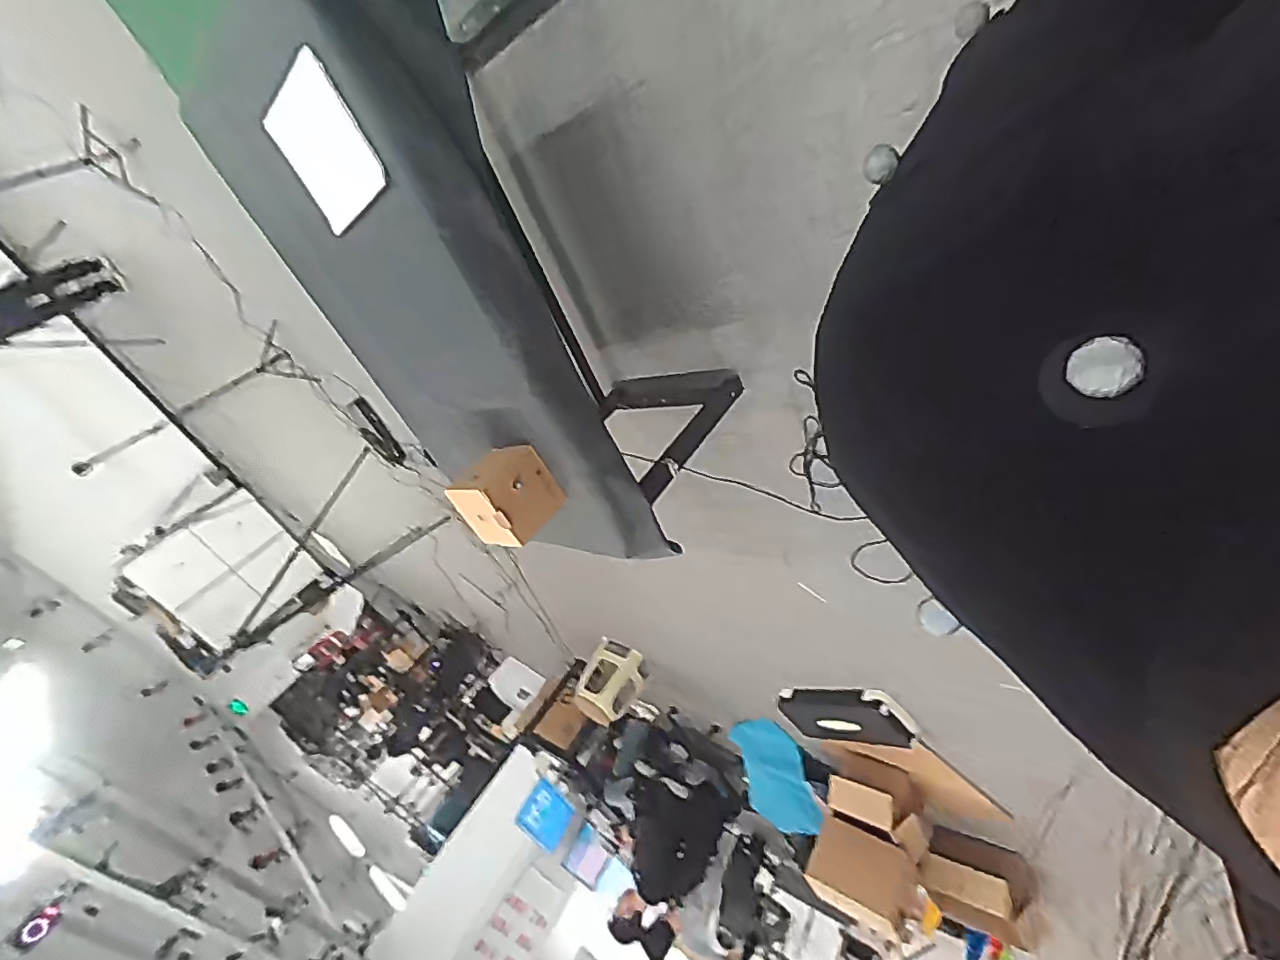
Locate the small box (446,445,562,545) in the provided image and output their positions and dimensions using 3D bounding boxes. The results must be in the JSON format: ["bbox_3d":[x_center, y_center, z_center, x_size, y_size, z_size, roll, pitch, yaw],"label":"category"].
[{"bbox_3d":[-0.307,0.031,1.259,0.179,0.176,0.168,0,127,46],"label":"small box"}]
